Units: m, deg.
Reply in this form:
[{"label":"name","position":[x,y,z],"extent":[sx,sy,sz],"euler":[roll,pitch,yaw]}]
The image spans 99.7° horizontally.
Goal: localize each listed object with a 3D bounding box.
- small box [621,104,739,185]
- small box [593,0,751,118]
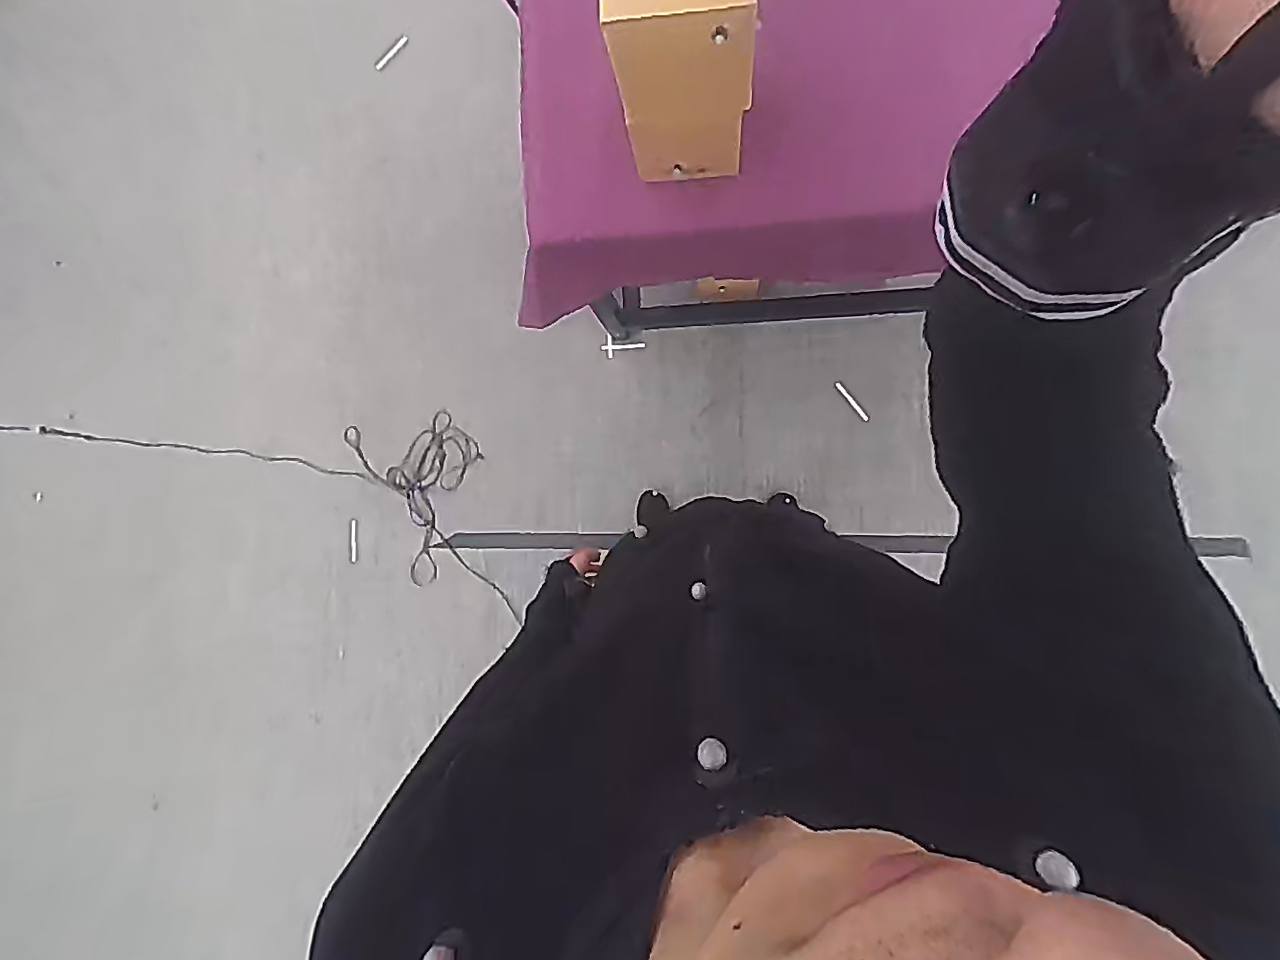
[{"label":"small box","position":[0.066,-0.587,0.829],"extent":[0.168,0.176,0.179],"euler":[-1,90,9]},{"label":"small box","position":[0.046,-0.582,0.668],"extent":[0.179,0.176,0.168],"euler":[0,90,8]}]
